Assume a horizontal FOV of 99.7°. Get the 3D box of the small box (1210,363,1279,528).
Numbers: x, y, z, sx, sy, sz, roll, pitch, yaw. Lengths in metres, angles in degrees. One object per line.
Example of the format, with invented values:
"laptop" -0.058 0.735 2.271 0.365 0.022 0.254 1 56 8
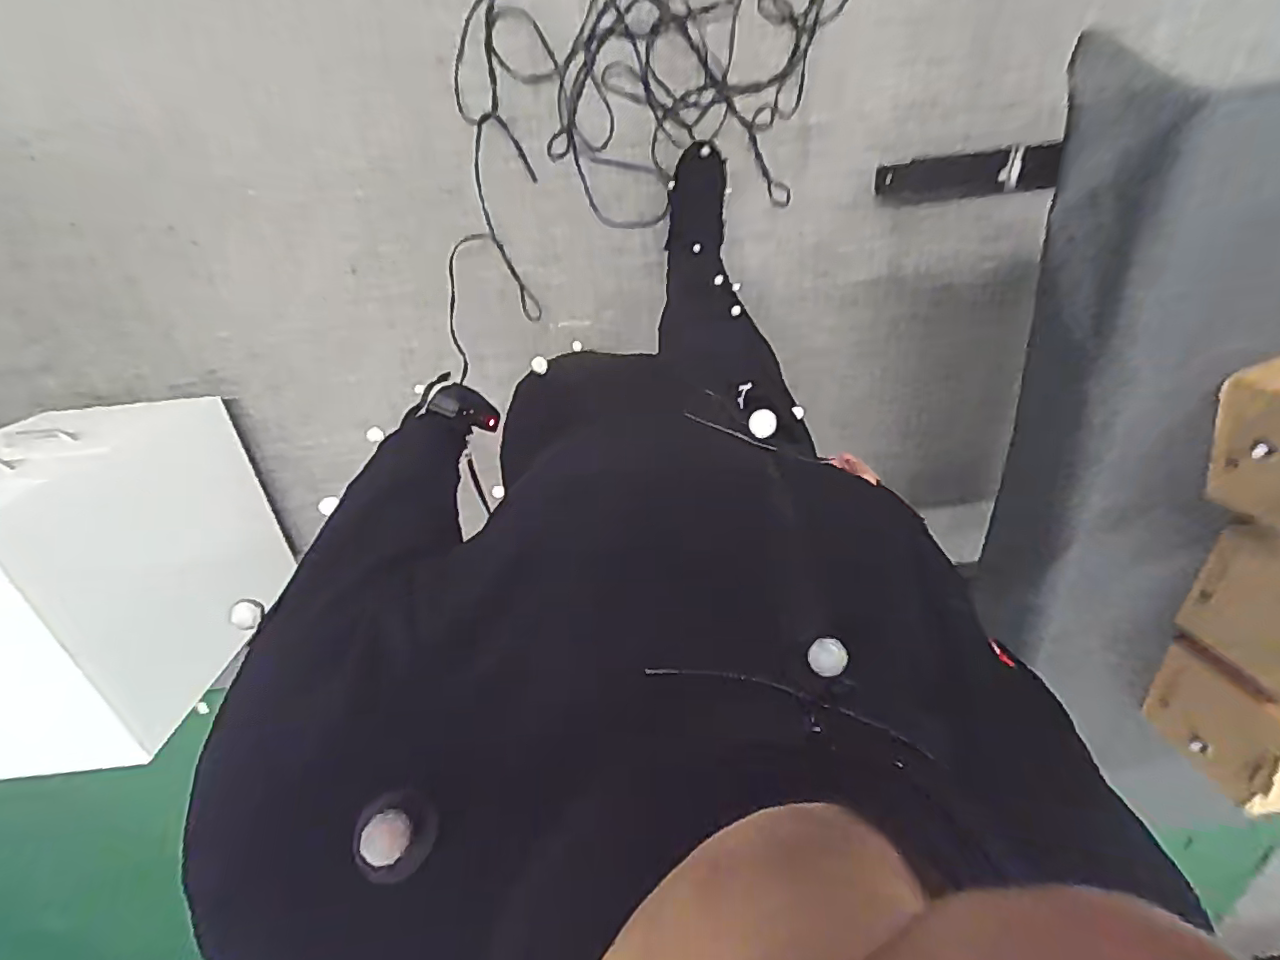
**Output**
"small box" 0.765 -0.038 0.554 0.179 0.176 0.168 -20 117 7
